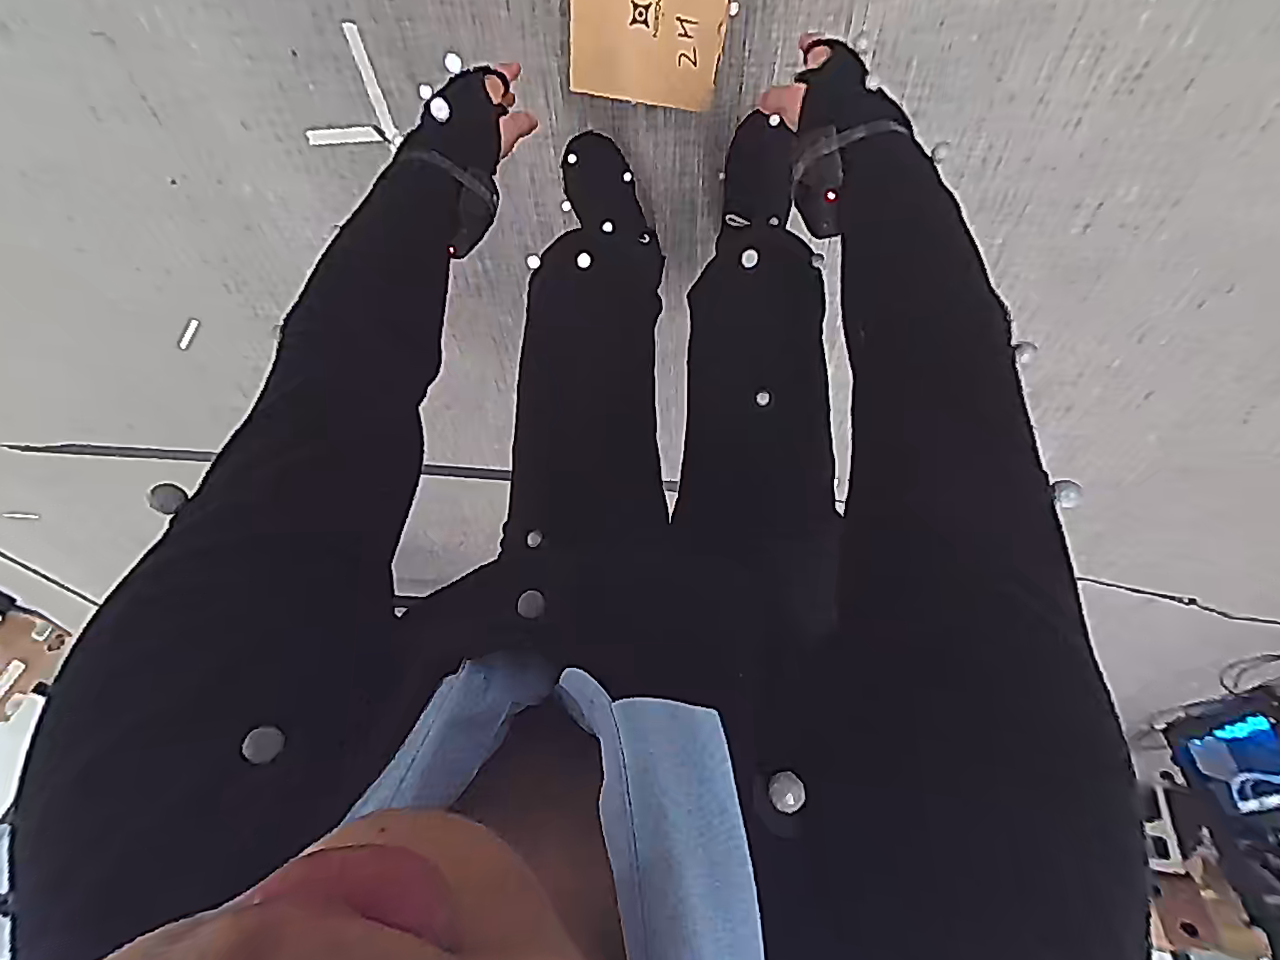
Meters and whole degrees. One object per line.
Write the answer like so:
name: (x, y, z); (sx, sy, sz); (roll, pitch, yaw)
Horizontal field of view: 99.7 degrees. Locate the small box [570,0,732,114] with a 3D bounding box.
small box: (0.019, -0.572, 0.644); (0.179, 0.176, 0.168); (9, 142, -2)
